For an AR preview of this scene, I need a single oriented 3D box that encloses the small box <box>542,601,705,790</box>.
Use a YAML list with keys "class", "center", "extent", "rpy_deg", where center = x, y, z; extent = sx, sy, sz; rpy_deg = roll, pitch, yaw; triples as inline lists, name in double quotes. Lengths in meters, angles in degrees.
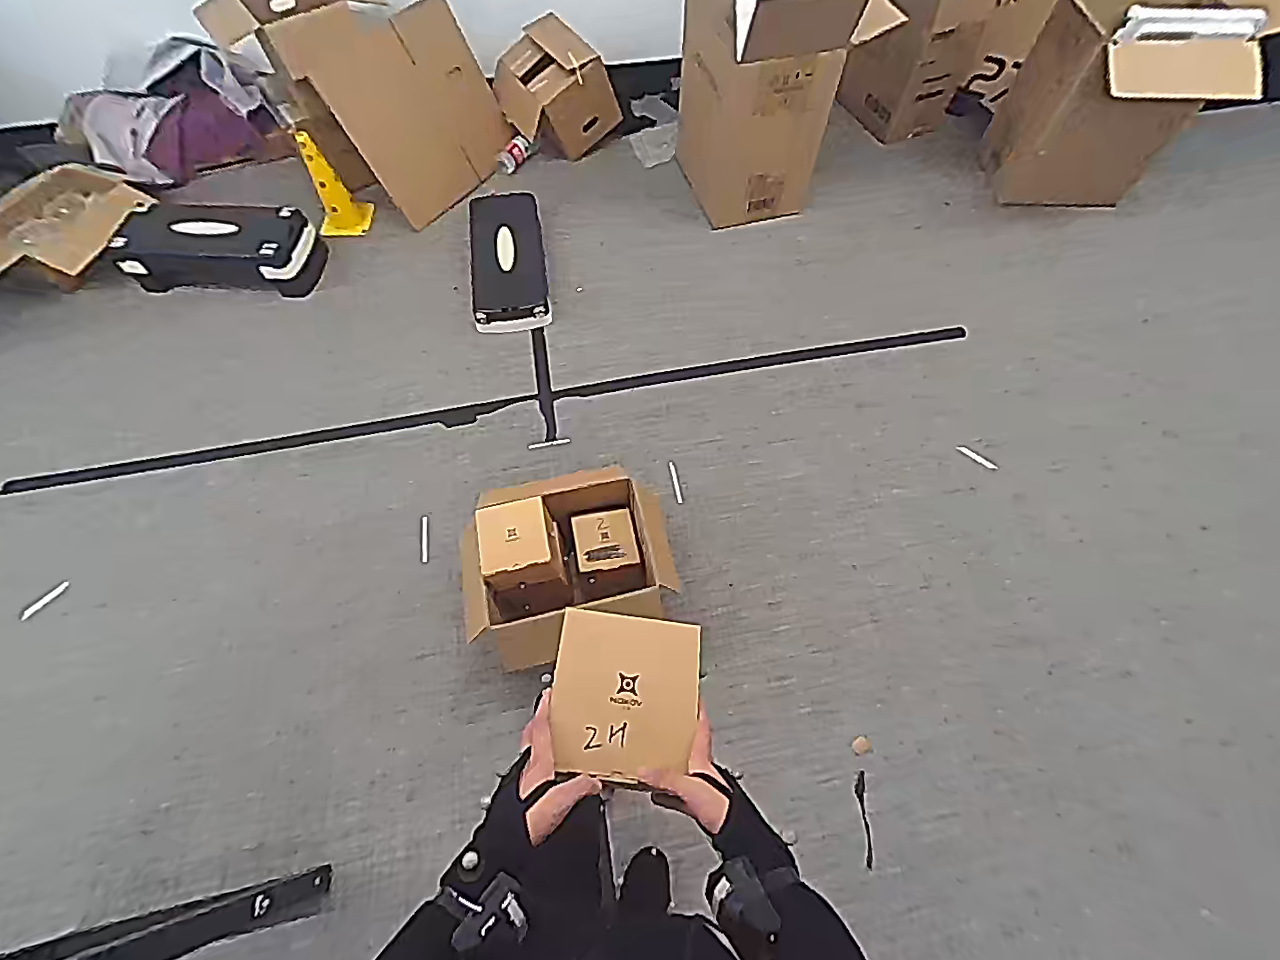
- class: "small box"
  center: [-0.022, 0.270, 0.665]
  extent: [0.168, 0.176, 0.179]
  rpy_deg: [9, 58, -3]
